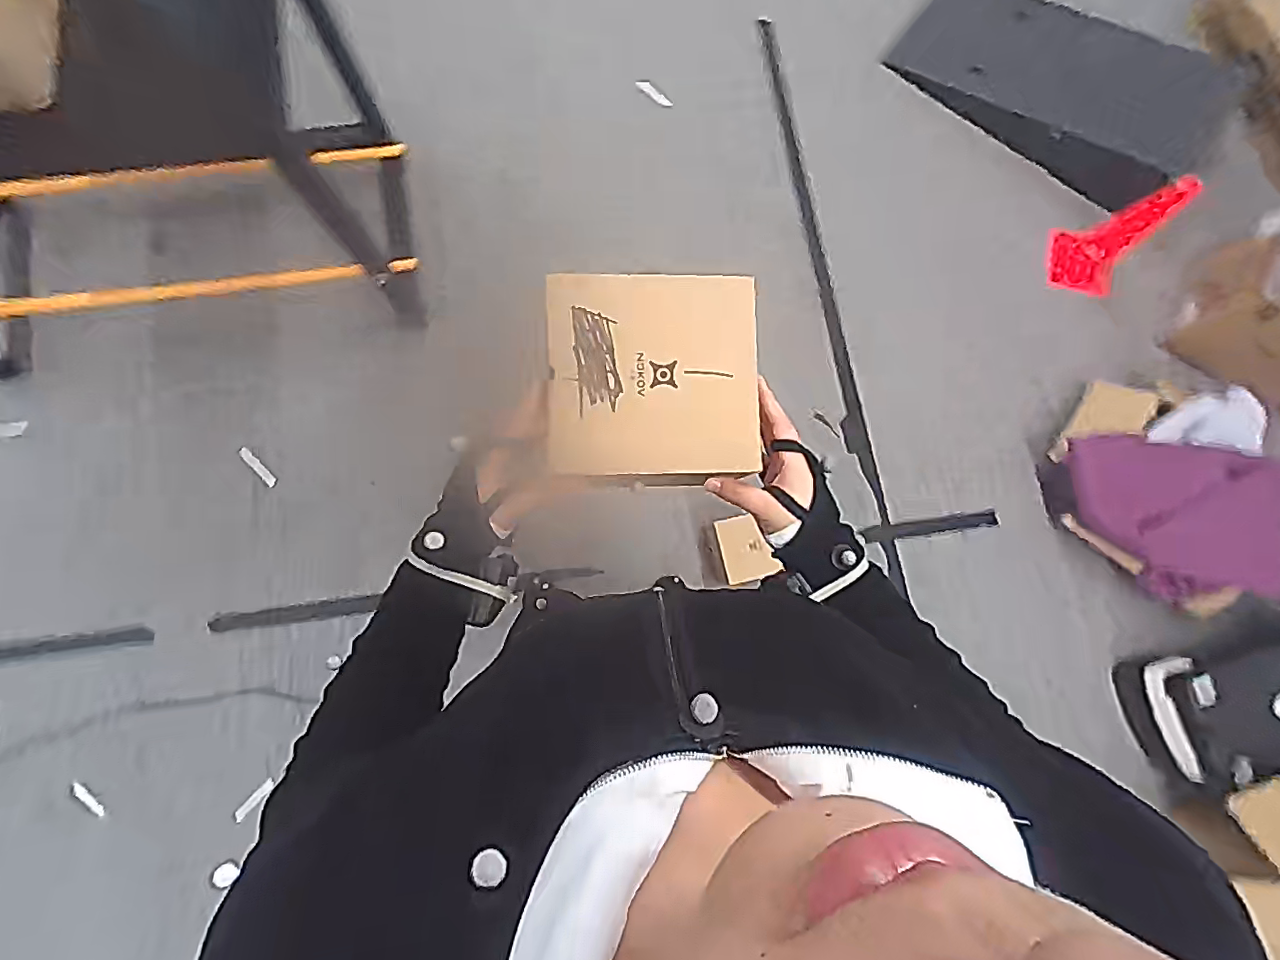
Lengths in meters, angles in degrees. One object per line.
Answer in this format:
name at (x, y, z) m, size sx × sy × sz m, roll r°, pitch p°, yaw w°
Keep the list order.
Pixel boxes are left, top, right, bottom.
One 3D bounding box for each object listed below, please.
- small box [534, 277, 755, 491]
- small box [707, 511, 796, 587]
small box at (0.000, -0.077, 0.514) m, size 0.179 × 0.176 × 0.168 m, roll -2°, pitch 86°, yaw -4°
small box at (0.291, 0.185, 1.447) m, size 0.179 × 0.176 × 0.168 m, roll -13°, pitch 80°, yaw -3°
